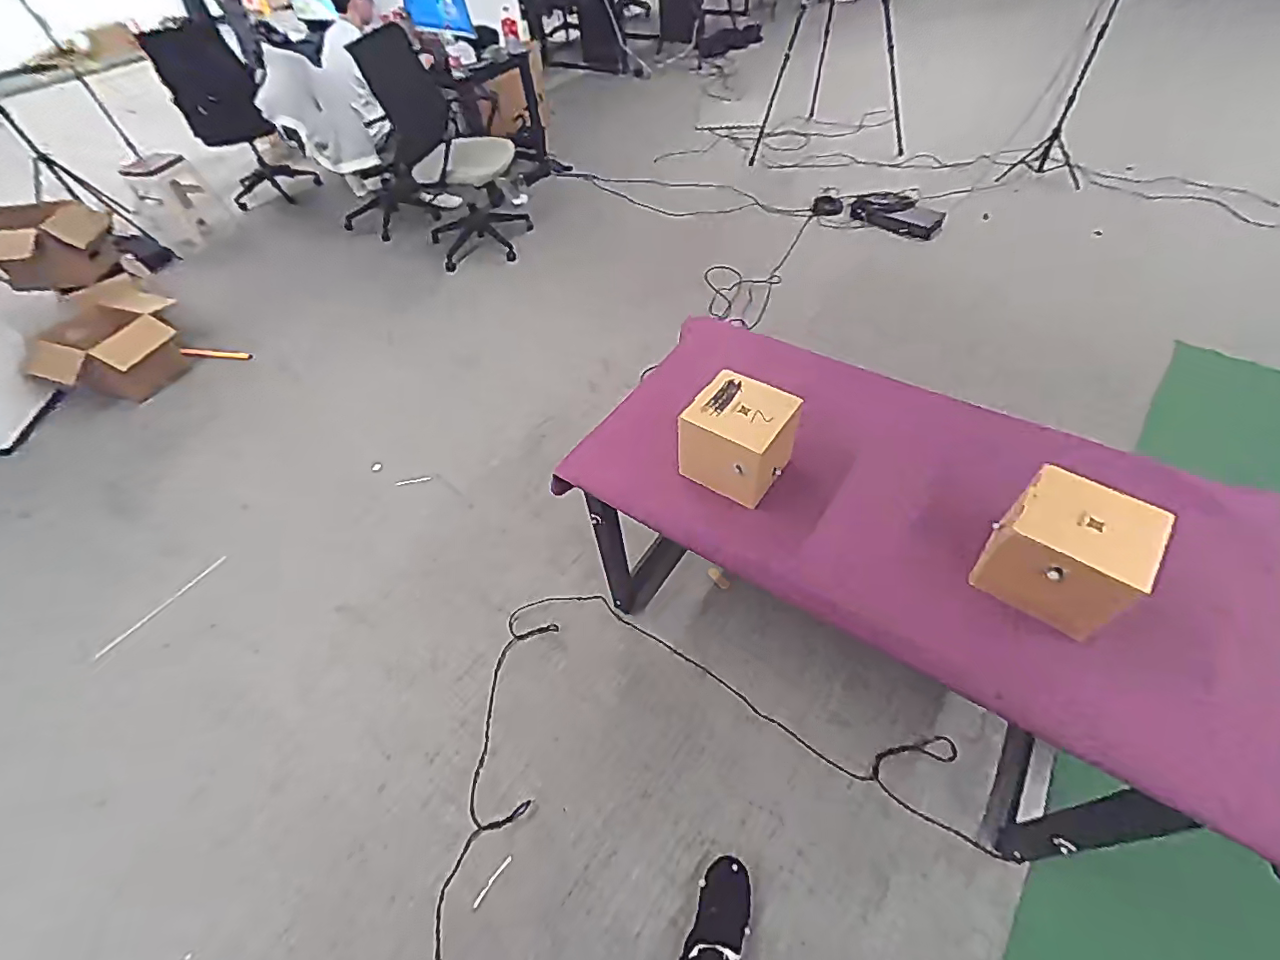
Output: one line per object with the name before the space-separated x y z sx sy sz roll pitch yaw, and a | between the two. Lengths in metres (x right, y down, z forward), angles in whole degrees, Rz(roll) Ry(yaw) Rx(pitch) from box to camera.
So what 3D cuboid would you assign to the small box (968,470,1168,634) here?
small box | 0.675 0.122 0.870 0.179 0.176 0.168 31 60 28
